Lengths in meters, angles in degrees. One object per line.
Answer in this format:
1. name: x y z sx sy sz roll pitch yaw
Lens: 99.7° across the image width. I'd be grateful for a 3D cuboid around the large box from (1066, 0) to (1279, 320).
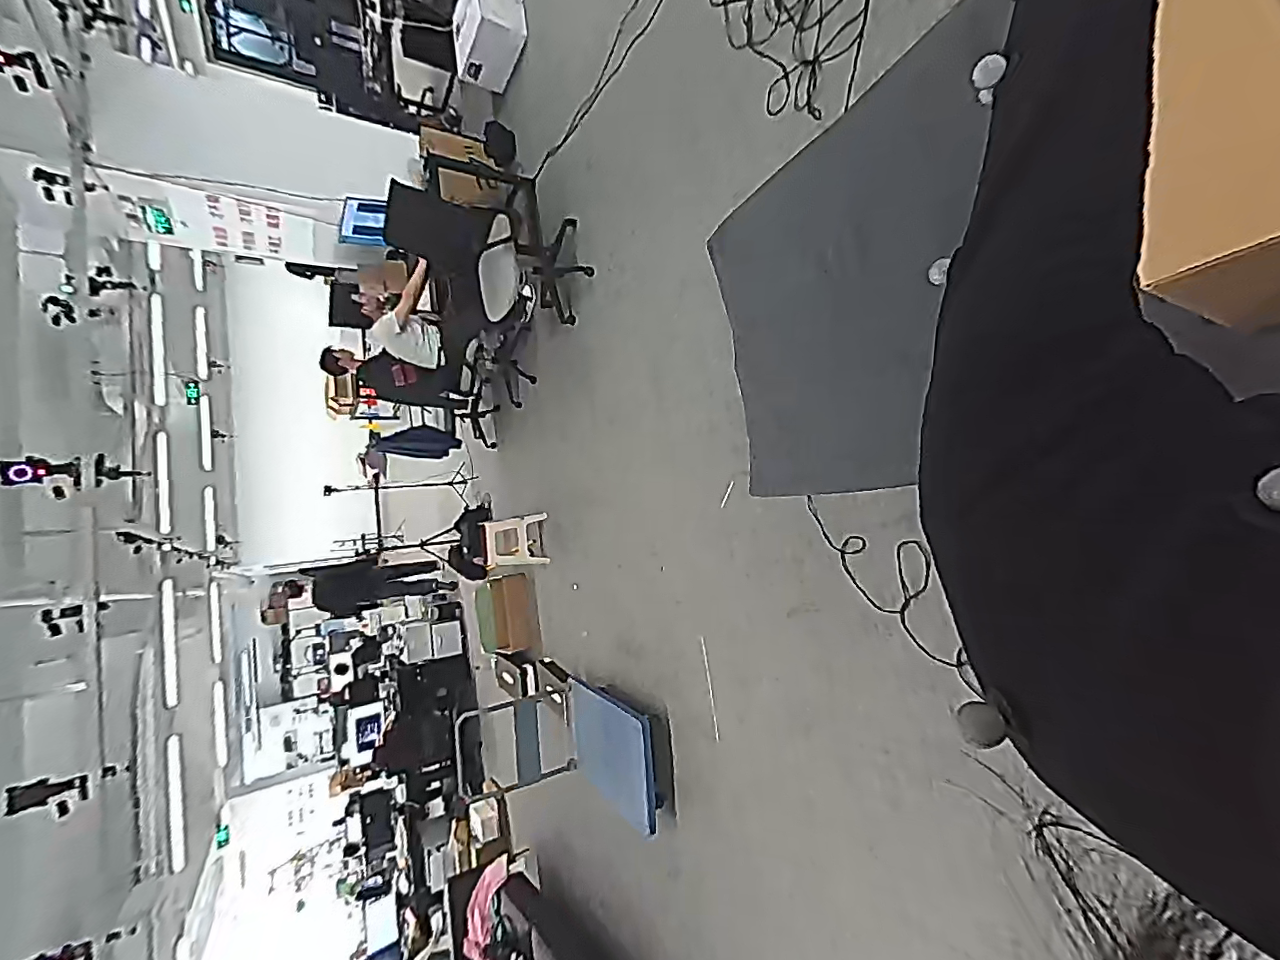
1. large box: 0.550 -0.376 0.374 0.320 0.320 0.408 -19 75 56
